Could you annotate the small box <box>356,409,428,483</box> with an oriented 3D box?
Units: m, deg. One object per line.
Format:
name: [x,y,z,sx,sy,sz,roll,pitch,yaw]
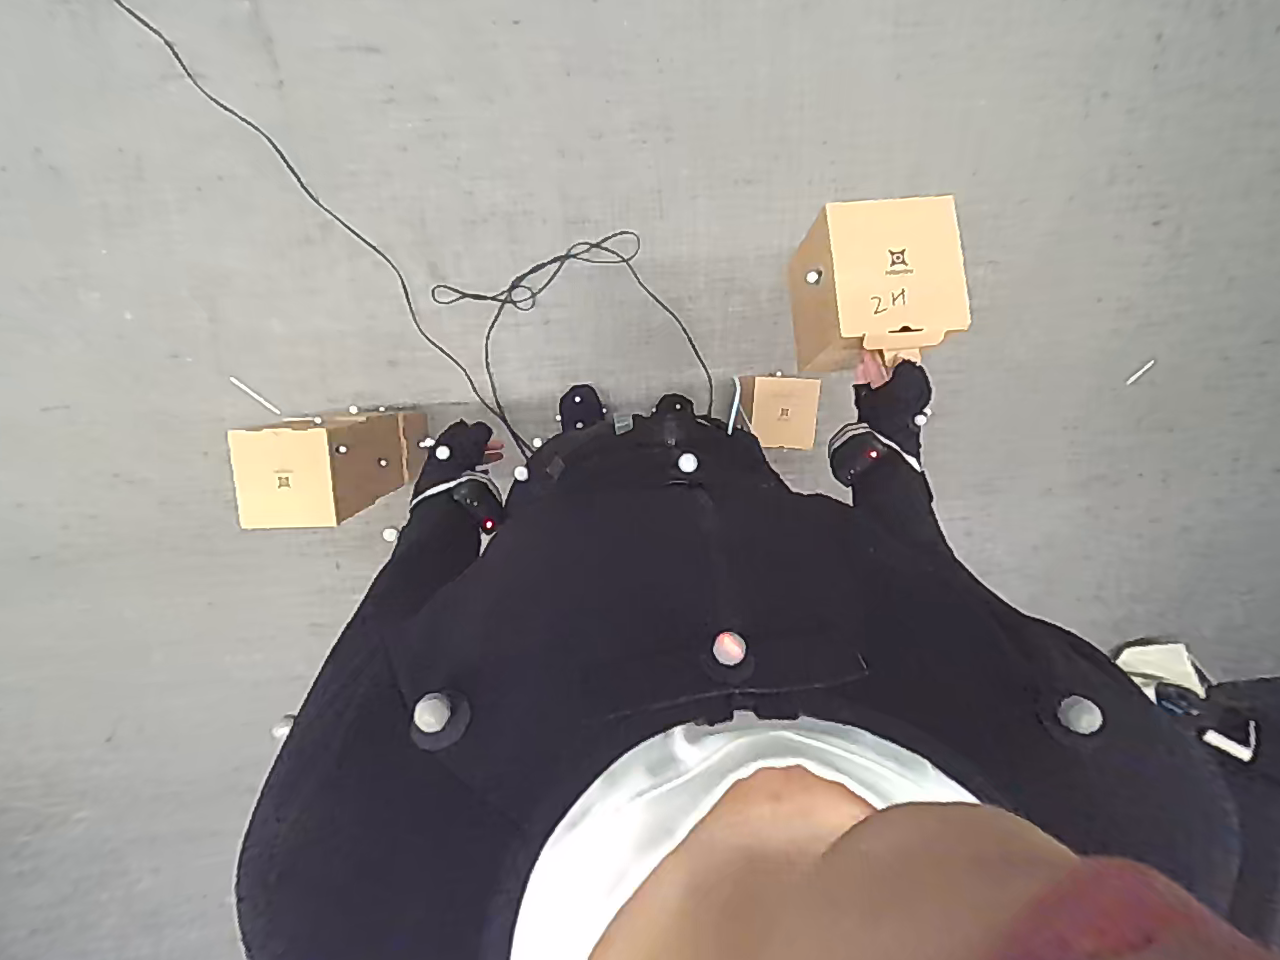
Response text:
small box: [-0.635,-0.086,1.331,0.179,0.176,0.168,-2,101,-4]

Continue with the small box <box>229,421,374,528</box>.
small box: [-0.618,-0.017,1.011,0.168,0.176,0.179,-2,100,-4]

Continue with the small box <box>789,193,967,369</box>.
small box: [0.314,-0.265,0.750,0.168,0.176,0.179,-4,86,-2]

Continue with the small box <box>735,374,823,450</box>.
small box: [0.346,-0.178,1.380,0.168,0.176,0.179,2,101,-5]

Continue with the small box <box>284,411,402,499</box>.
small box: [-0.630,-0.056,1.169,0.168,0.176,0.179,-1,100,-4]
